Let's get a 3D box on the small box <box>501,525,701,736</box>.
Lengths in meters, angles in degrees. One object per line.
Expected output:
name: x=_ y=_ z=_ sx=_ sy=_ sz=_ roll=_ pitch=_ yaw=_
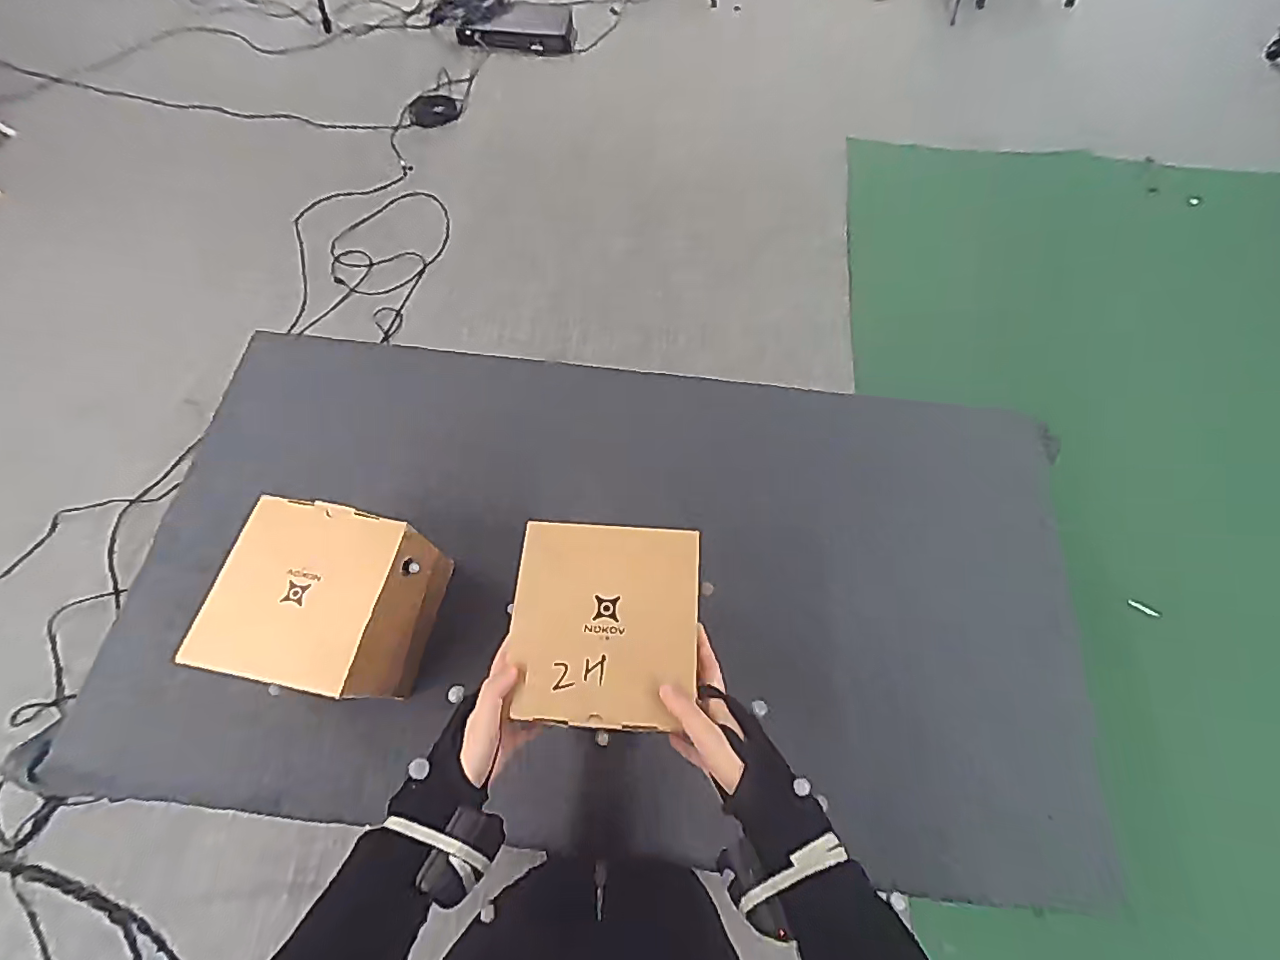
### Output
small box: x=-0.029 y=0.161 z=0.555 sx=0.168 sy=0.176 sz=0.179 roll=3 pitch=65 yaw=2

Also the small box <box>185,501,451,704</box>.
small box: x=-0.336 y=0.146 z=0.611 sx=0.168 sy=0.176 sz=0.179 roll=10 pitch=66 yaw=4
